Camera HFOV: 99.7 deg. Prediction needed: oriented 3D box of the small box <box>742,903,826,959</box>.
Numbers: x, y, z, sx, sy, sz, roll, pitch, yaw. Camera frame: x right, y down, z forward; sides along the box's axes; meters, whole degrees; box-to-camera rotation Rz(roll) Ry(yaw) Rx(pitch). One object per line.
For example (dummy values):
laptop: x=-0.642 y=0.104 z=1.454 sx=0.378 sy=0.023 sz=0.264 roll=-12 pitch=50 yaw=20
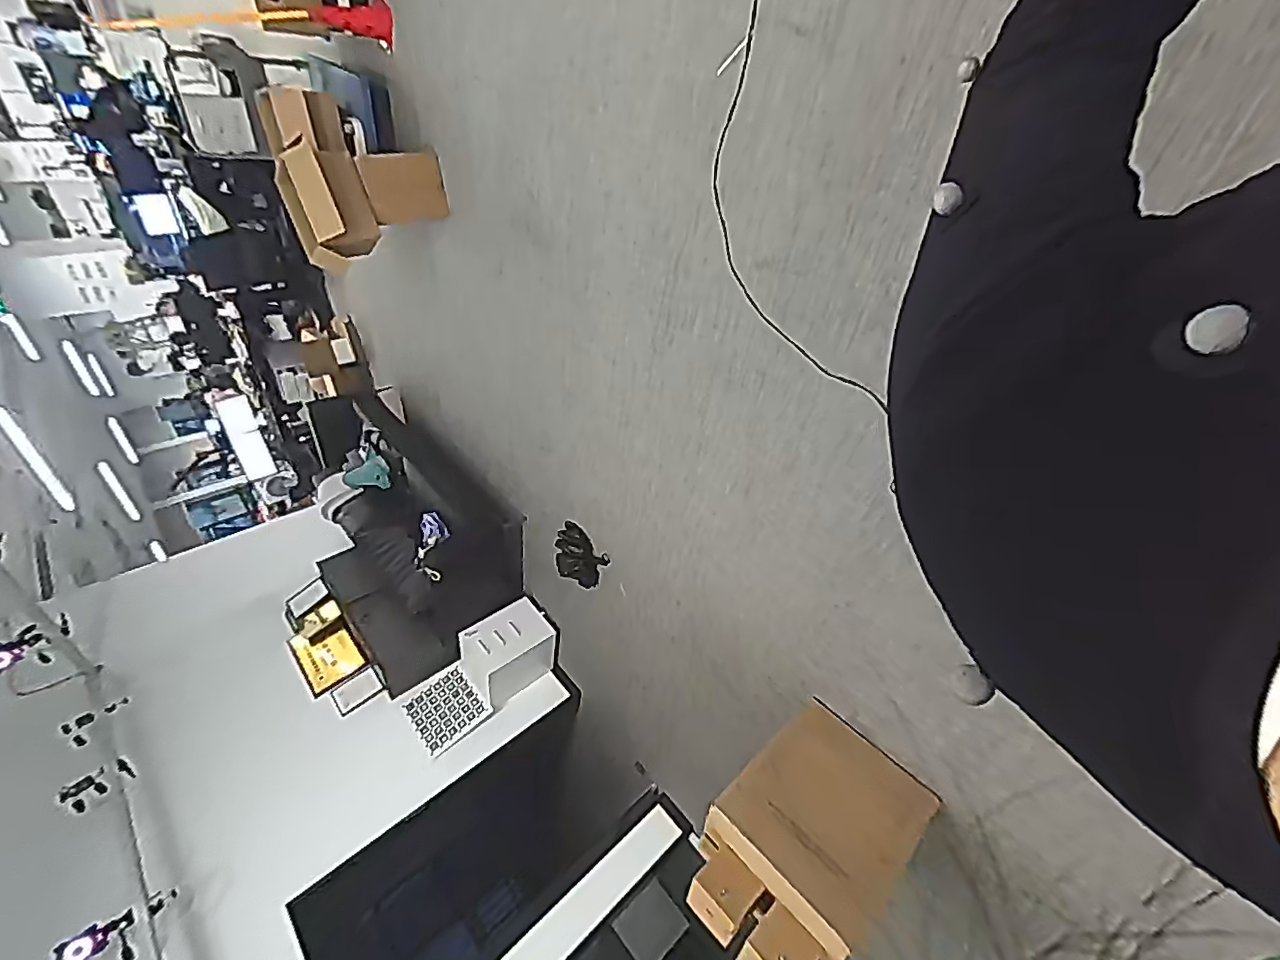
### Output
small box: x=0.443 y=1.470 z=1.664 sx=0.179 sy=0.176 sz=0.168 roll=33 pitch=129 yaw=36

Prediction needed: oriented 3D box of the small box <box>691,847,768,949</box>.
small box: x=0.298 y=1.375 z=1.789 sx=0.179 sy=0.176 sz=0.168 roll=32 pitch=128 yaw=38
